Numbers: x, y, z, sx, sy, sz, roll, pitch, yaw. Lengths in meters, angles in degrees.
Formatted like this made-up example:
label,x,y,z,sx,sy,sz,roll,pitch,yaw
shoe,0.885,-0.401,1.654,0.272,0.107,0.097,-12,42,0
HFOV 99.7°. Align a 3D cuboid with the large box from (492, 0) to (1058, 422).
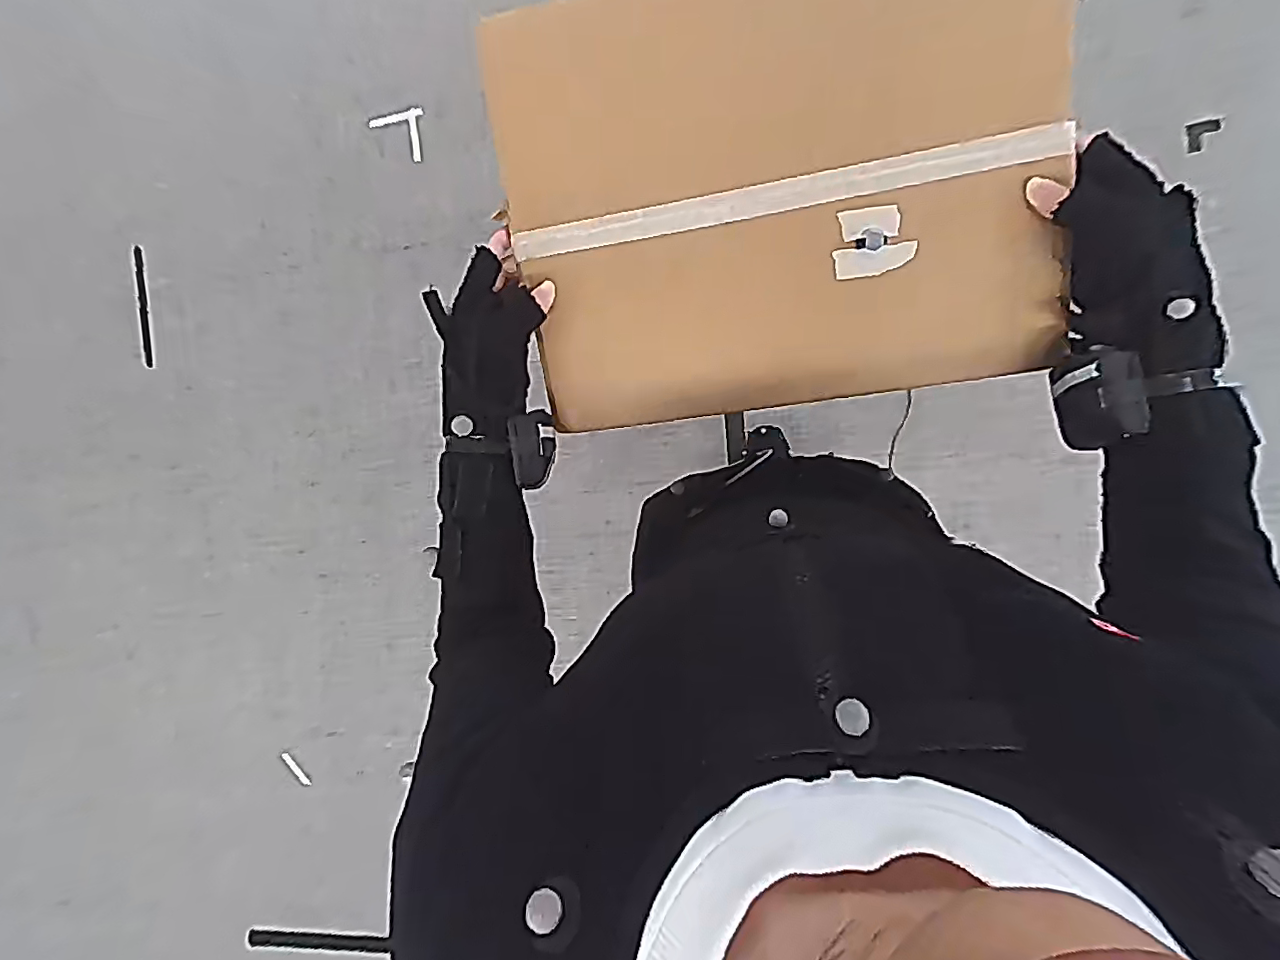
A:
label,x,y,z,sx,sy,sz,roll,pitch,yaw
large box,0.119,-0.261,0.562,0.408,0.320,0.320,-7,105,9
